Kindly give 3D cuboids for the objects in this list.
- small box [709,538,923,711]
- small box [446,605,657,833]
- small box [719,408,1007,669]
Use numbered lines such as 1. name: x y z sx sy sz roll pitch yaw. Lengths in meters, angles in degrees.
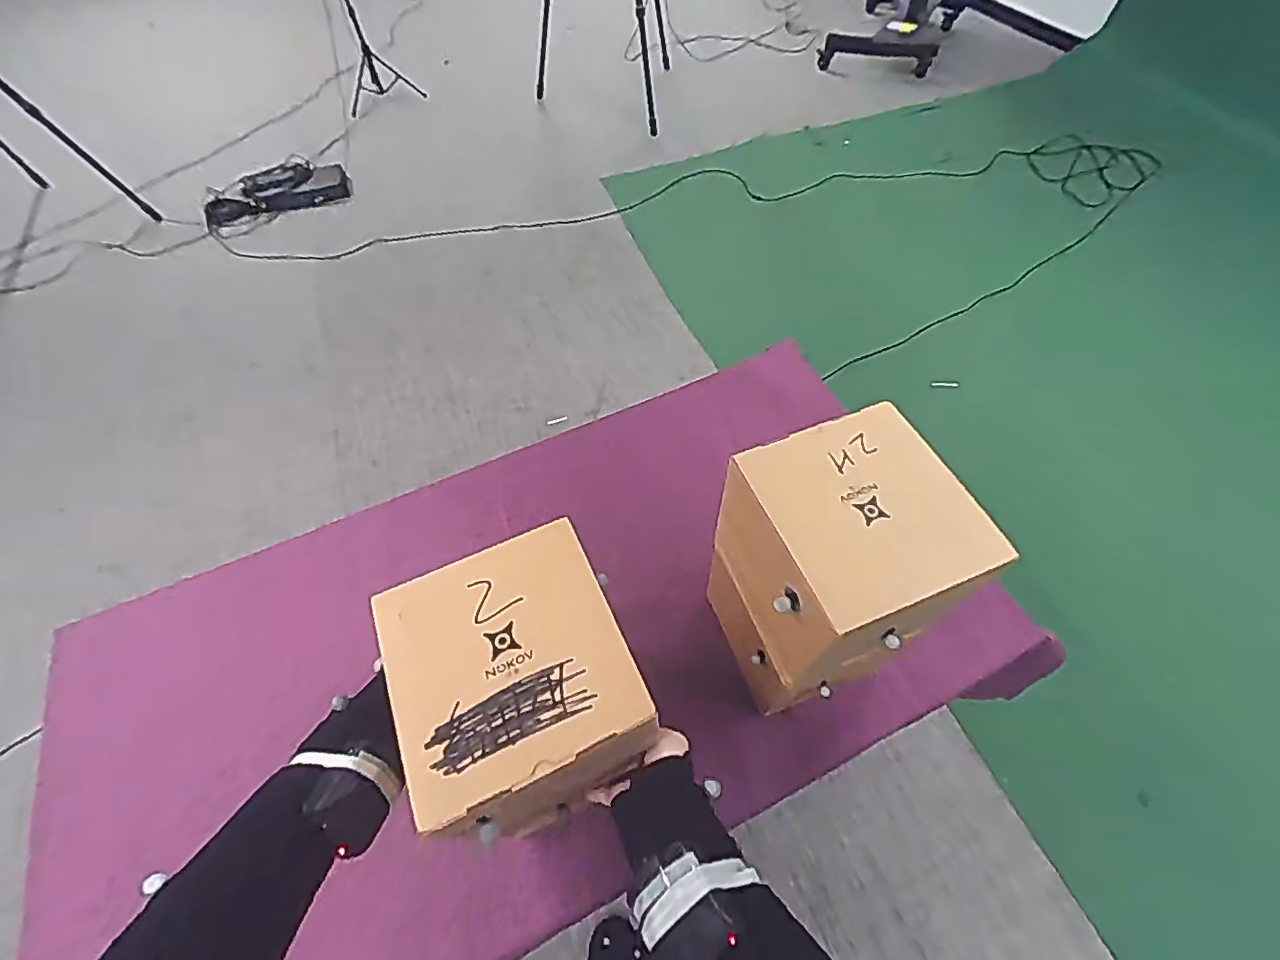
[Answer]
1. small box: 0.194 0.156 0.662 0.168 0.176 0.179 -18 58 -9
2. small box: -0.089 0.269 0.599 0.179 0.176 0.168 -19 58 -10
3. small box: 0.190 0.066 0.524 0.168 0.176 0.179 -19 58 -10
